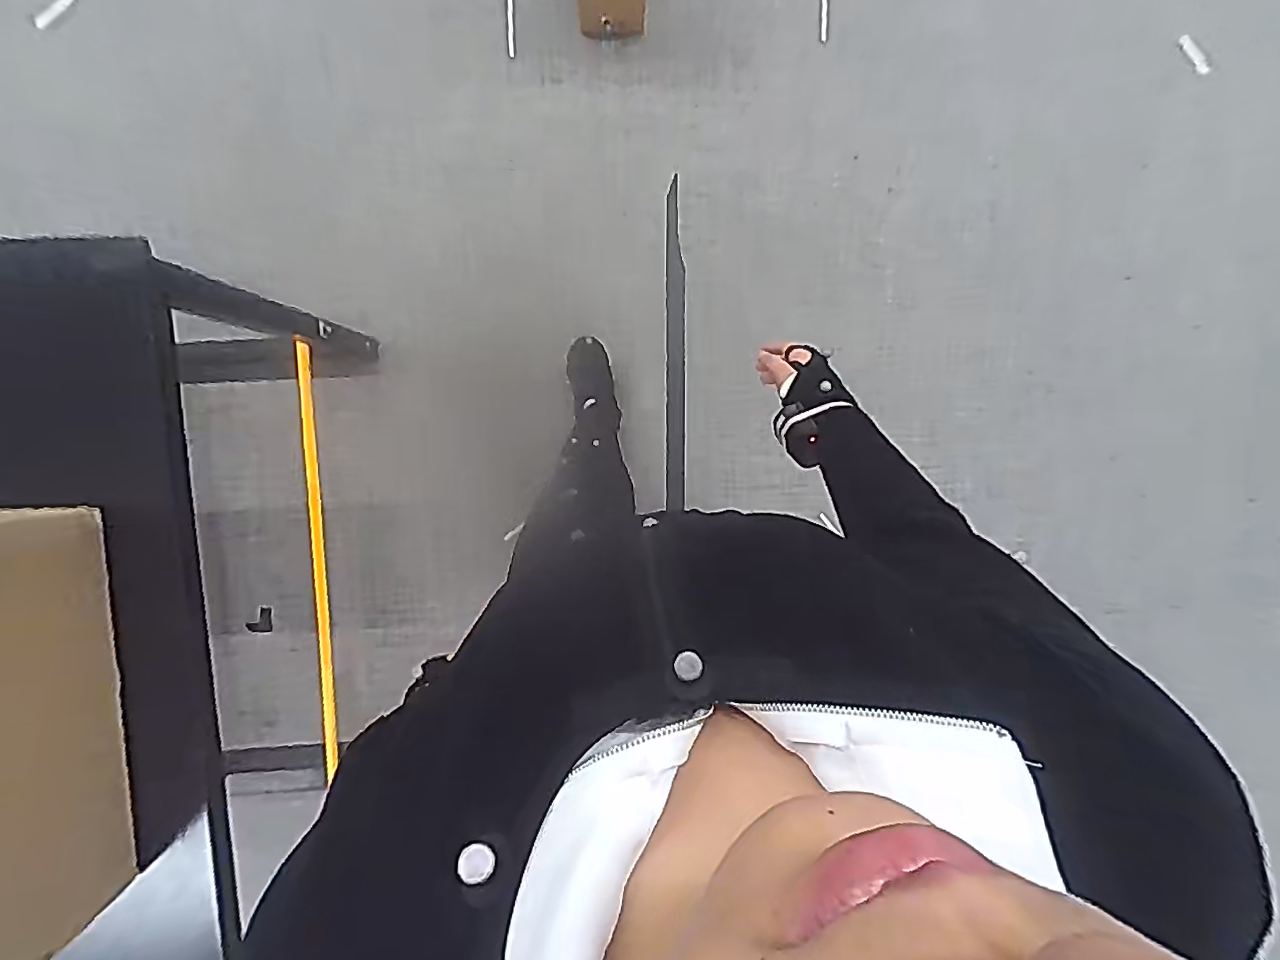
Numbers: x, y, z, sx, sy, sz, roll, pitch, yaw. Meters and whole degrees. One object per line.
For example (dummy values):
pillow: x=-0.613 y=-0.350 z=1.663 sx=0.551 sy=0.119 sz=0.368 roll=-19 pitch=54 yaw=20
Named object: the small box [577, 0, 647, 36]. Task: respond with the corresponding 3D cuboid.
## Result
small box: x=-0.071 y=-1.203 z=1.277 sx=0.168 sy=0.176 sz=0.179 roll=-4 pitch=97 yaw=-1
